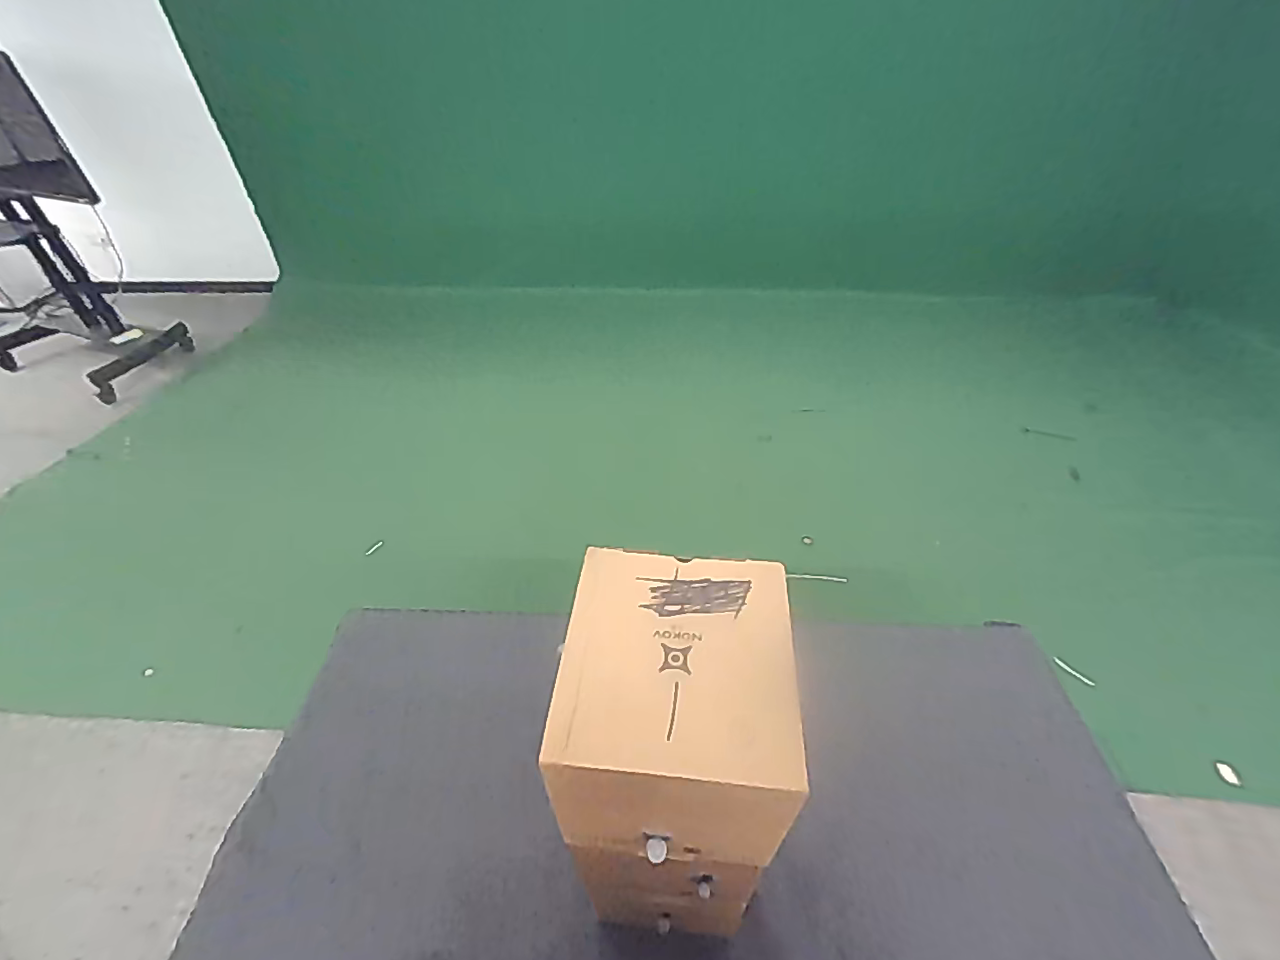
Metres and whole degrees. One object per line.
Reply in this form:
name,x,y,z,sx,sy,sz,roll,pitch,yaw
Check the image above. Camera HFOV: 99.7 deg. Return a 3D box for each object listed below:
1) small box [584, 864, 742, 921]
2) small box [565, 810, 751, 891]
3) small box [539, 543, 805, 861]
small box,0.035,0.414,0.664,0.168,0.176,0.179,3,43,5
small box,0.028,0.294,0.553,0.168,0.176,0.179,3,42,4
small box,0.028,0.177,0.439,0.168,0.176,0.179,4,44,6
